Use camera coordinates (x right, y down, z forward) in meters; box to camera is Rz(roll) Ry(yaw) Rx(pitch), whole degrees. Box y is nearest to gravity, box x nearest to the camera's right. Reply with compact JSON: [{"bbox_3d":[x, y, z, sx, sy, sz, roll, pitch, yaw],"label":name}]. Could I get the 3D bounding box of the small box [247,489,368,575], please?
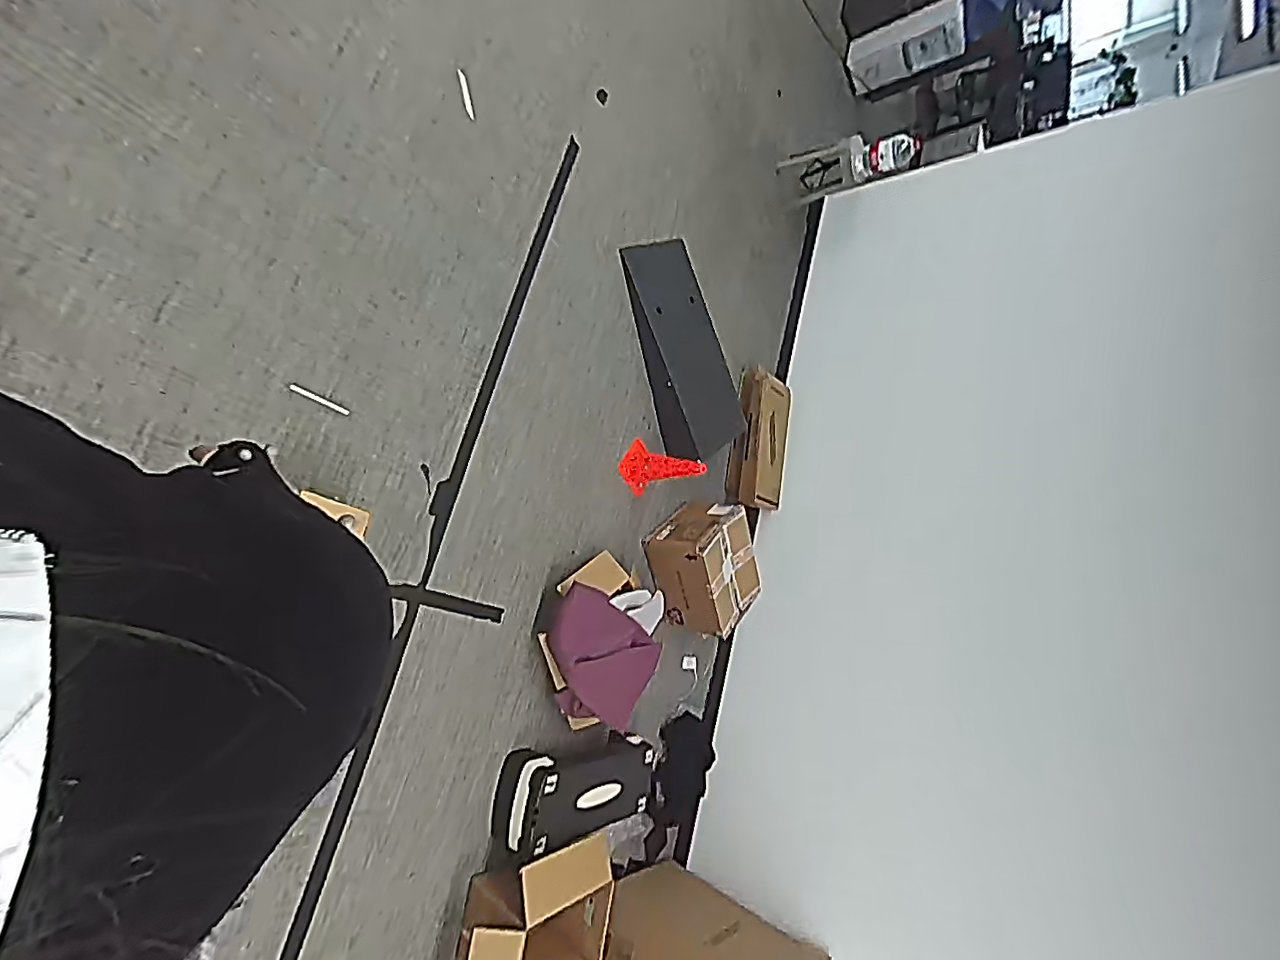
[{"bbox_3d":[-0.816,0.124,1.328,0.179,0.176,0.168,32,67,-46],"label":"small box"}]
